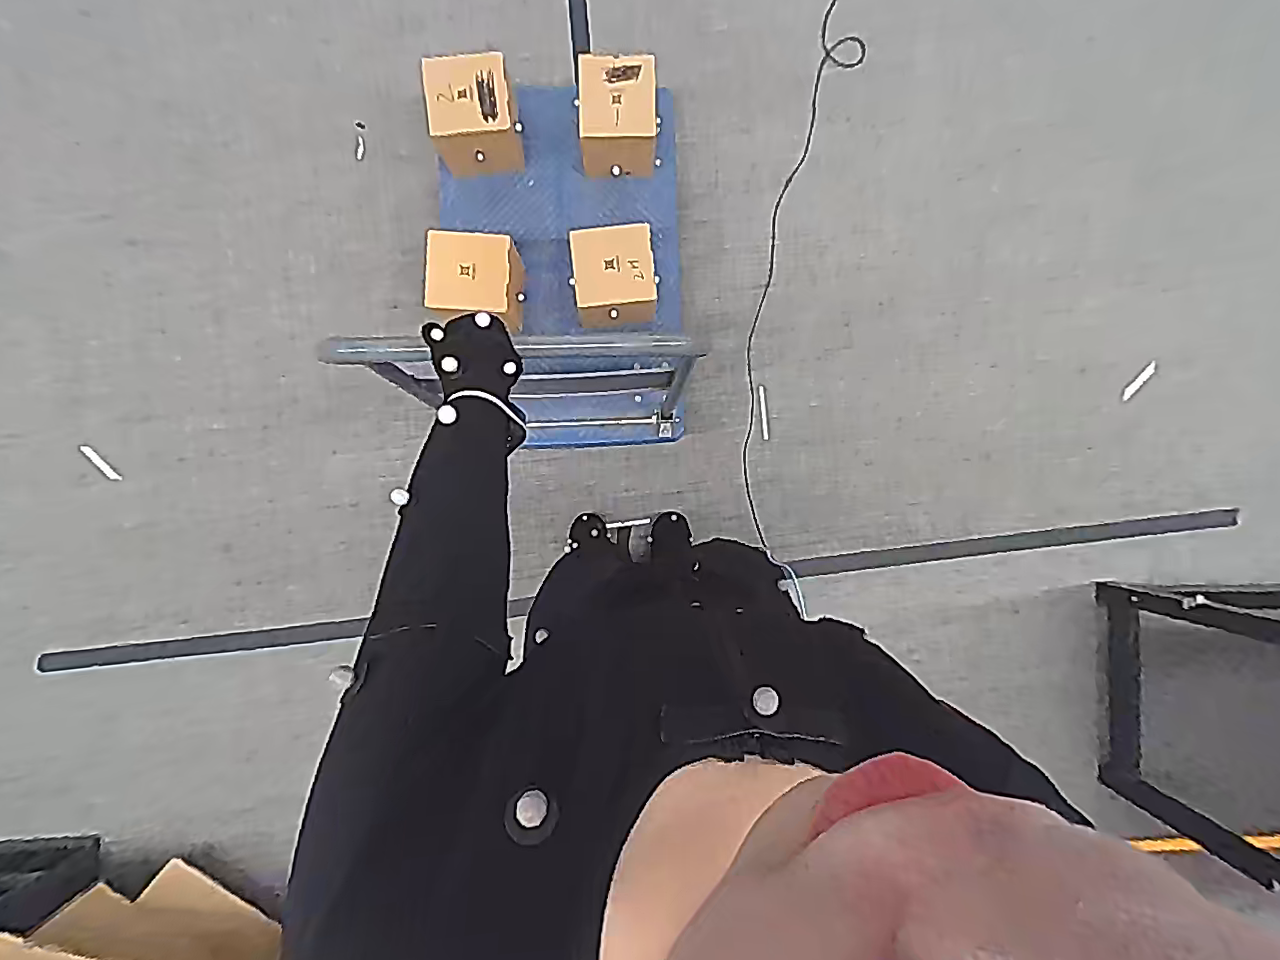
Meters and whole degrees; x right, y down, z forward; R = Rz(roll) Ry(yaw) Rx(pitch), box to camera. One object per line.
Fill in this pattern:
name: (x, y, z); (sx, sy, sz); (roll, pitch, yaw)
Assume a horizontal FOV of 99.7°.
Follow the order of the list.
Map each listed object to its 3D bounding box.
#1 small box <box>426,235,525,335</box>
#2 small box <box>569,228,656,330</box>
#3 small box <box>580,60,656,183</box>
small box: (-0.367, -0.434, 1.228); (0.179, 0.176, 0.168); (2, 89, -3)
small box: (-0.058, -0.450, 1.235); (0.179, 0.176, 0.168); (-6, 91, -1)
small box: (-0.050, -0.811, 1.235); (0.168, 0.176, 0.179); (-1, 91, -1)
